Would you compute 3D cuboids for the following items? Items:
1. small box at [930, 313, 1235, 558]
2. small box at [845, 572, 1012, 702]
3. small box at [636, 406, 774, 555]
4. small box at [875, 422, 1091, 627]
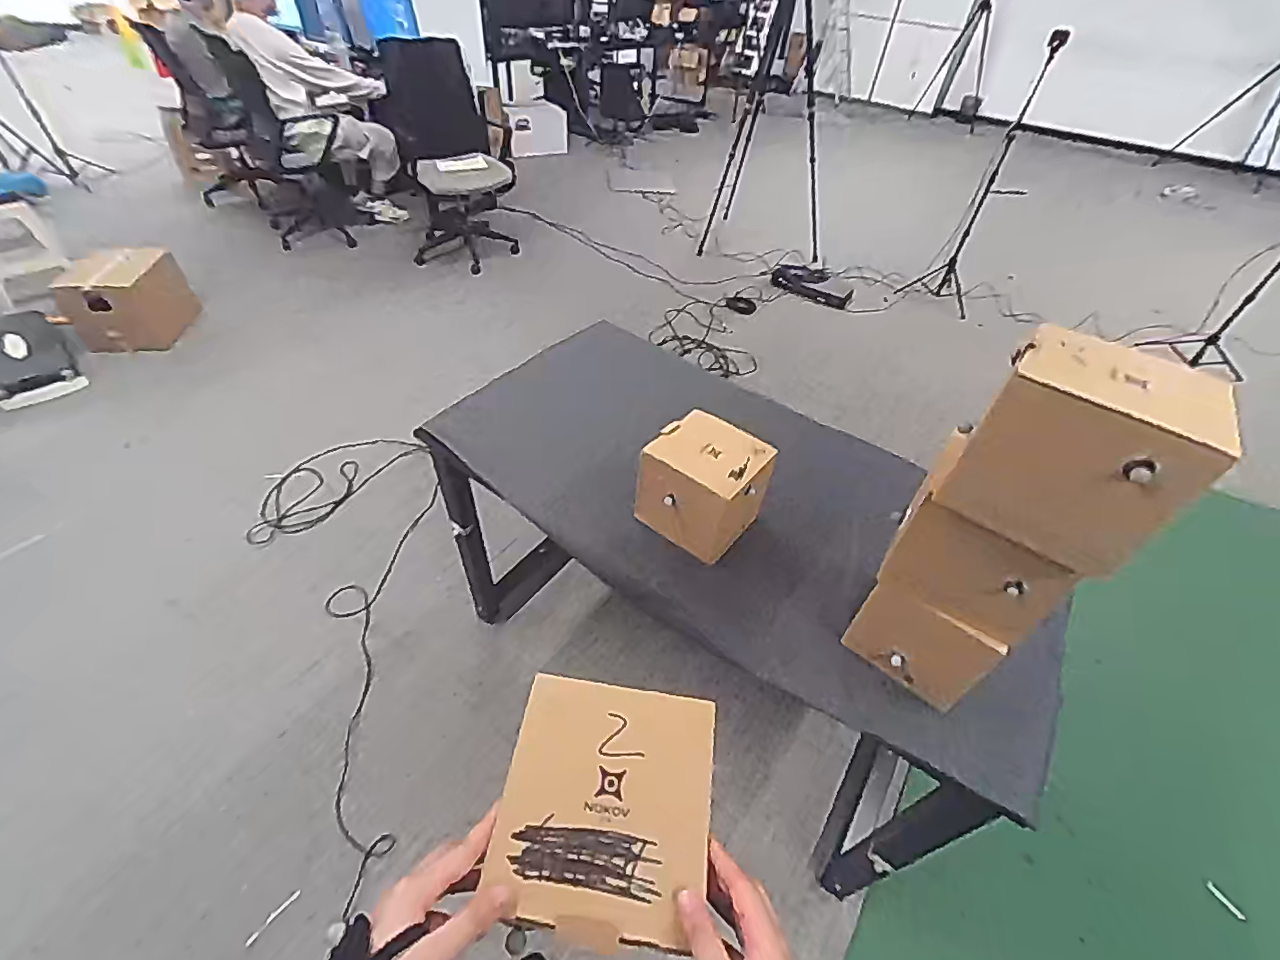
[{"bbox_3d":[0.445,-0.045,0.563,0.179,0.176,0.168,31,47,25],"label":"small box"},{"bbox_3d":[0.430,0.183,0.798,0.168,0.176,0.179,33,50,27],"label":"small box"},{"bbox_3d":[0.107,0.002,0.959,0.179,0.176,0.168,30,49,25],"label":"small box"},{"bbox_3d":[0.434,0.059,0.693,0.179,0.176,0.168,26,45,23],"label":"small box"}]
